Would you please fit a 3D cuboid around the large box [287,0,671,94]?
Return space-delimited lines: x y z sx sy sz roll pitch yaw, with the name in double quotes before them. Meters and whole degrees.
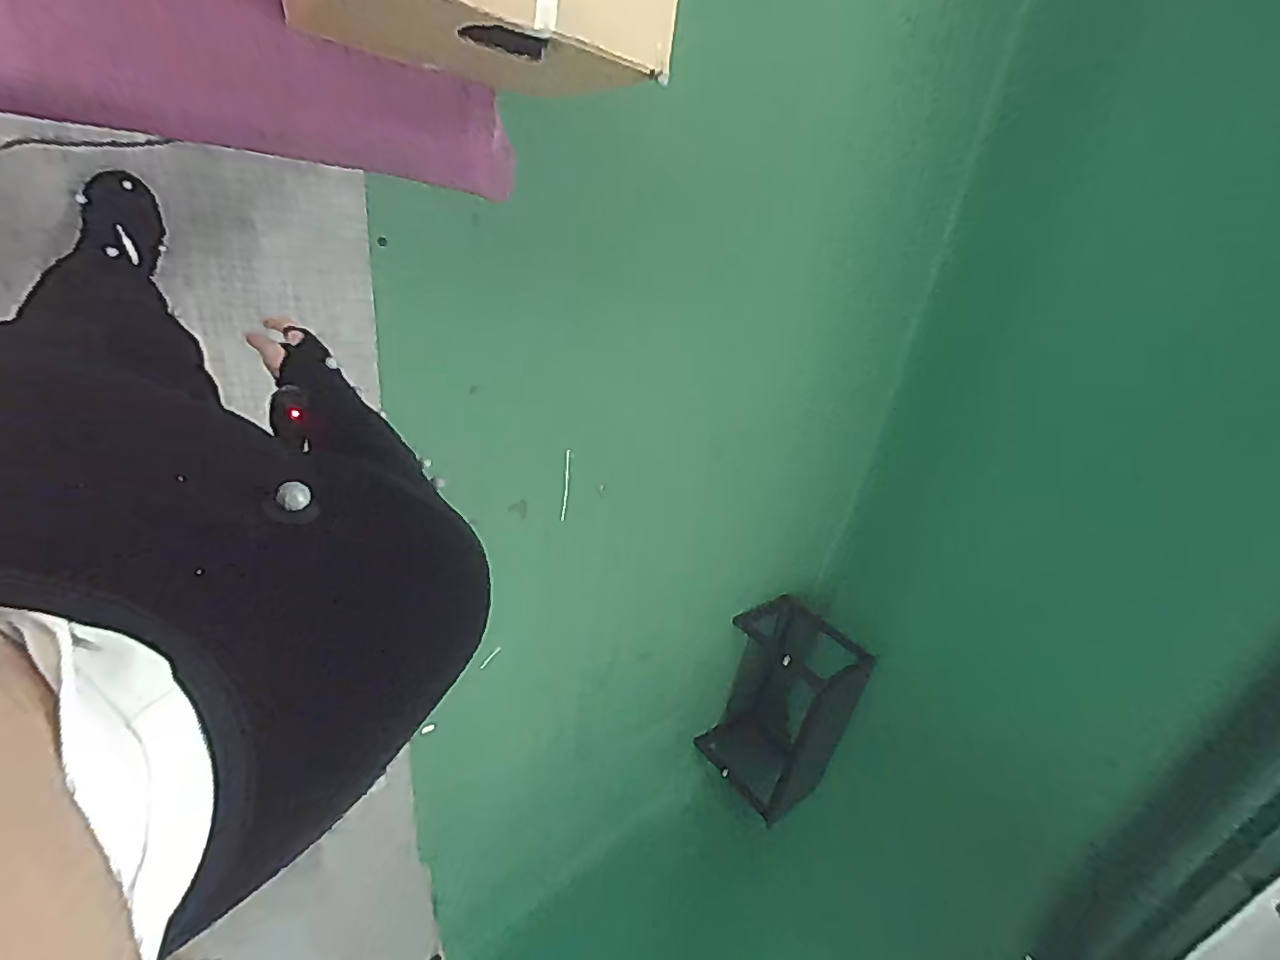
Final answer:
"large box" -0.160 -0.648 0.514 0.320 0.320 0.408 -12 123 -37
